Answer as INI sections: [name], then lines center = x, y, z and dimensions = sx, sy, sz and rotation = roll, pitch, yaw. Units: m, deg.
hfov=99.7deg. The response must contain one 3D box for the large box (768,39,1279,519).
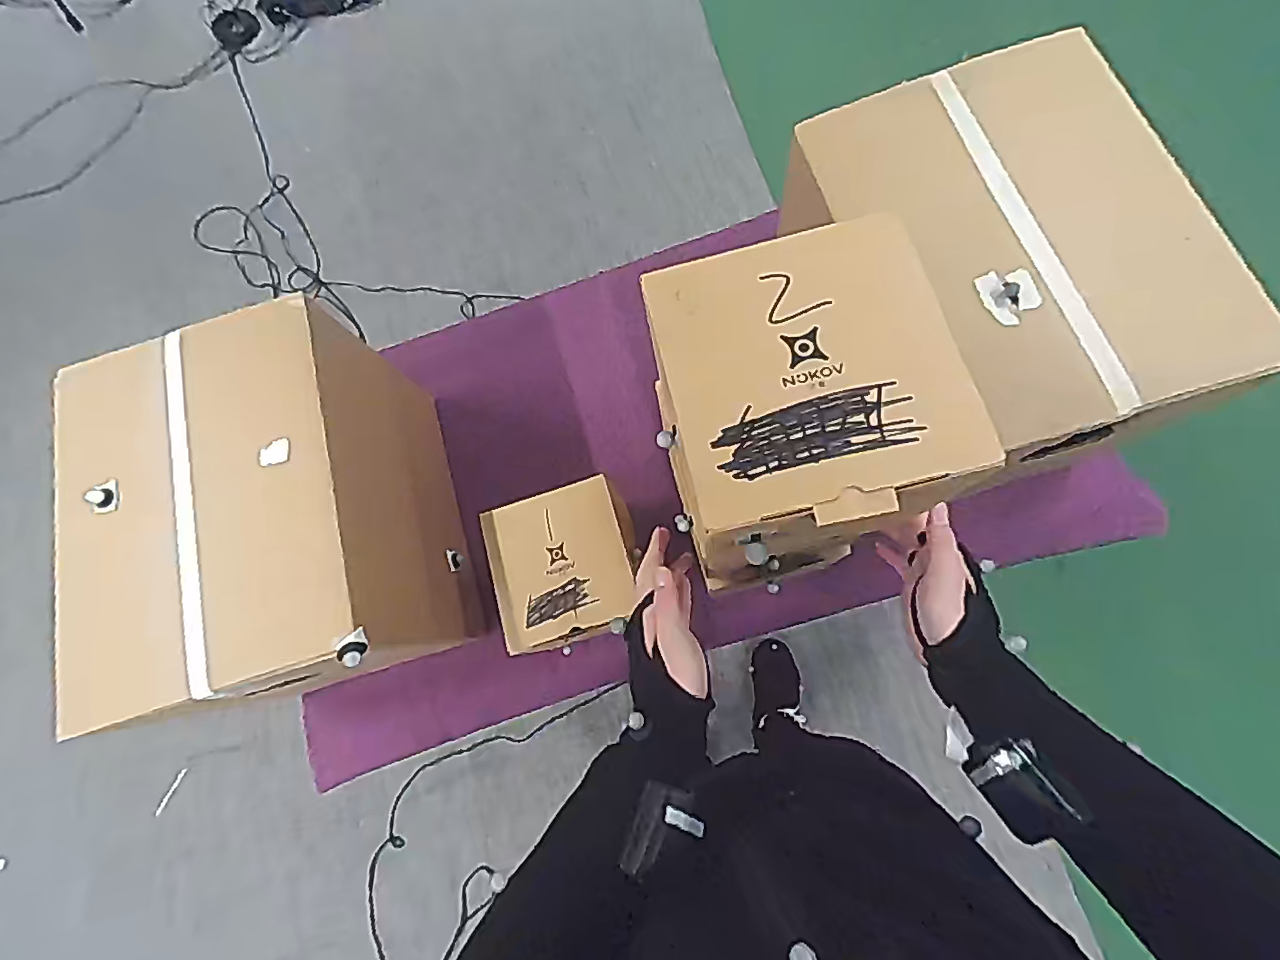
[large box]
center = 0.383, -0.203, 0.664
dimensions = 0.320, 0.320, 0.408
rotation = -17, 75, 4
